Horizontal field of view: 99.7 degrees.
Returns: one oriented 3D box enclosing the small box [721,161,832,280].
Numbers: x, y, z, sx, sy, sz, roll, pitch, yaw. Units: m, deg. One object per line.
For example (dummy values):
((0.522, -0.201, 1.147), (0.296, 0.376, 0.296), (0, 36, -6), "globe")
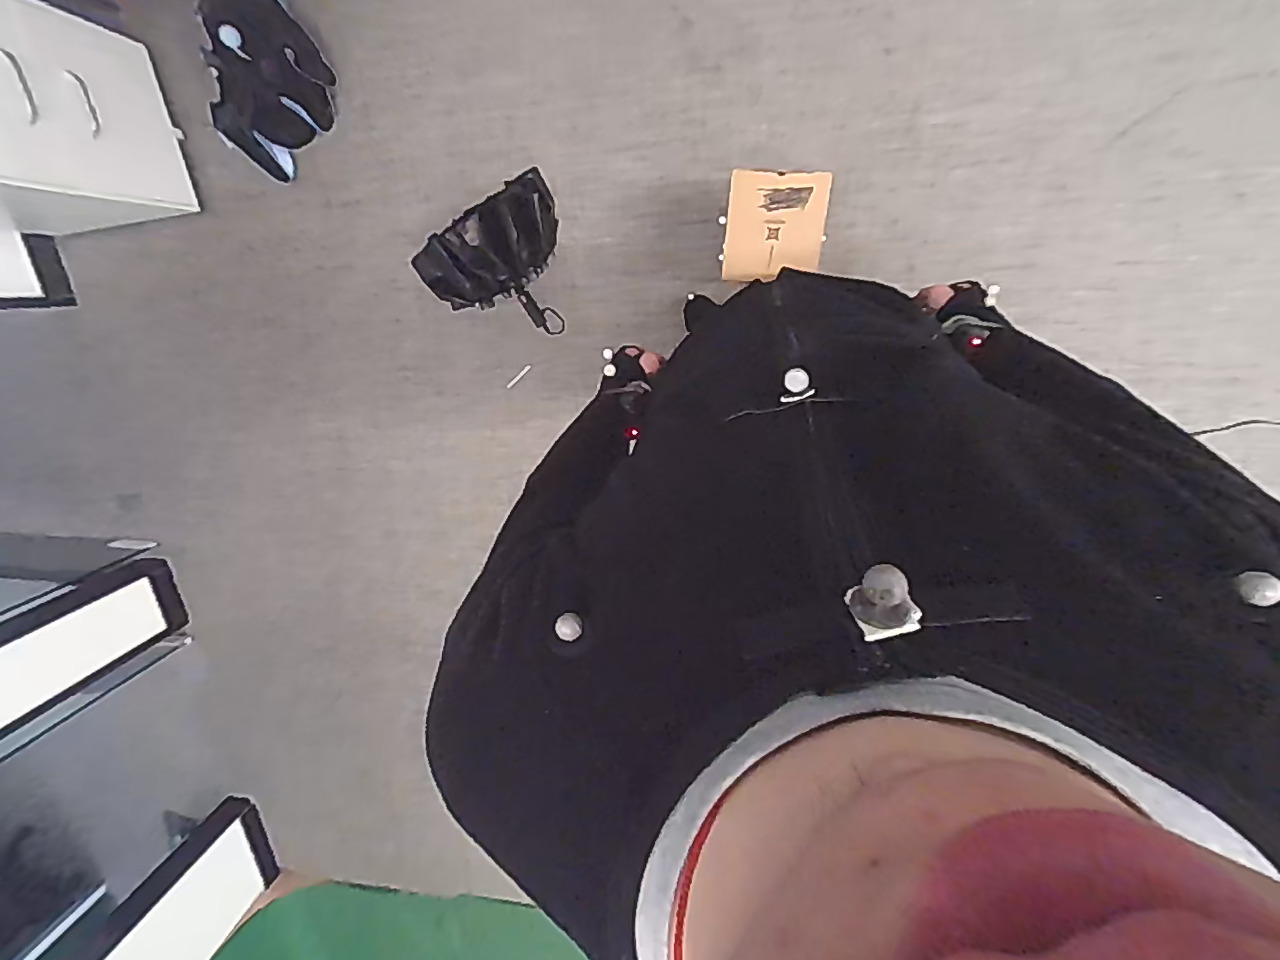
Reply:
((0.240, -0.467, 0.993), (0.168, 0.176, 0.179), (7, 112, 7), "small box")
